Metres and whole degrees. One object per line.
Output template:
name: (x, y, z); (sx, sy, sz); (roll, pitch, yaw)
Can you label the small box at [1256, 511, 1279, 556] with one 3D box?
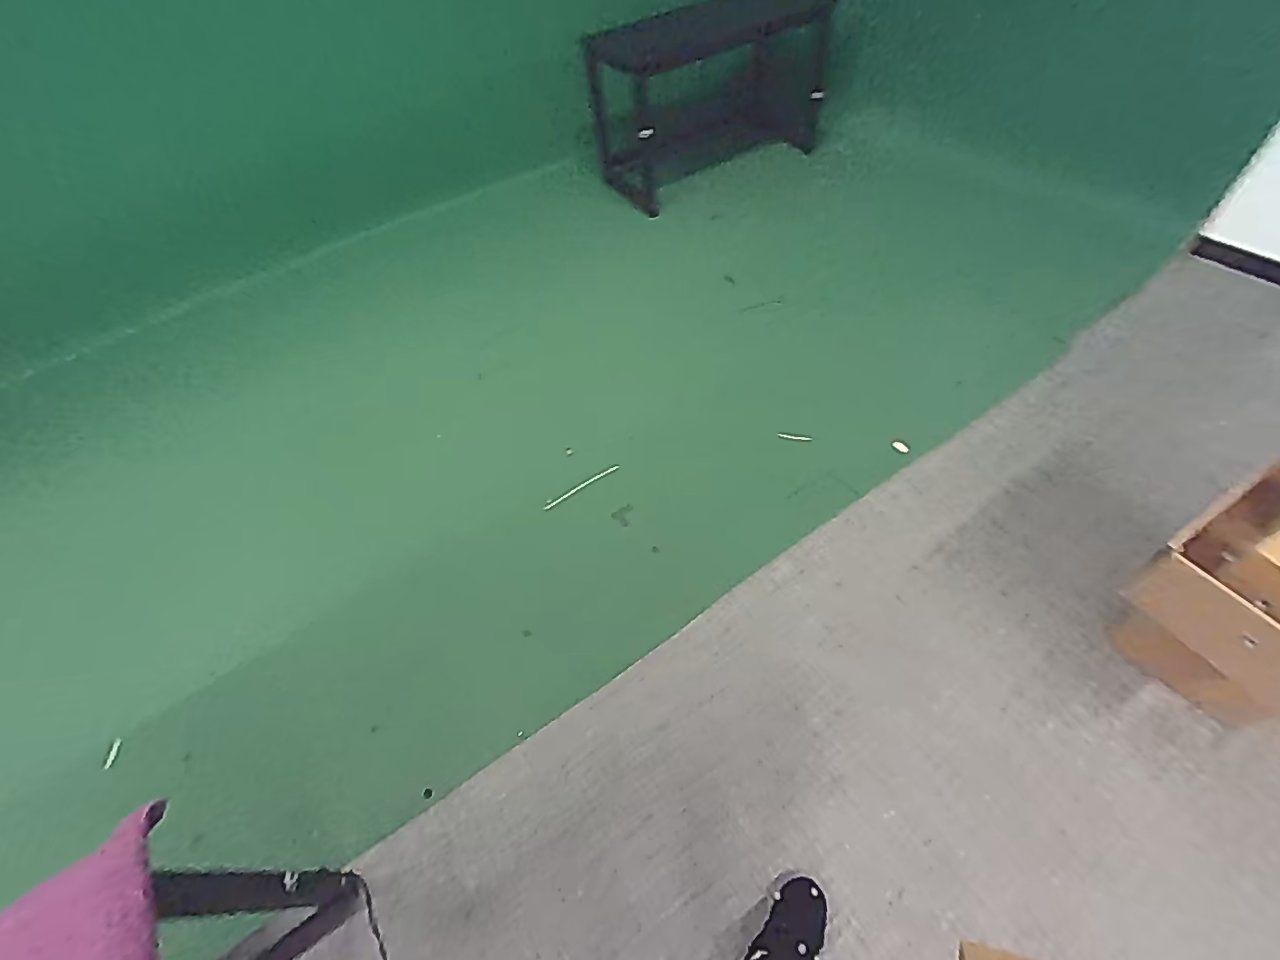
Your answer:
small box: (1.486, 0.094, 1.136); (0.179, 0.176, 0.168); (-30, 55, -13)
